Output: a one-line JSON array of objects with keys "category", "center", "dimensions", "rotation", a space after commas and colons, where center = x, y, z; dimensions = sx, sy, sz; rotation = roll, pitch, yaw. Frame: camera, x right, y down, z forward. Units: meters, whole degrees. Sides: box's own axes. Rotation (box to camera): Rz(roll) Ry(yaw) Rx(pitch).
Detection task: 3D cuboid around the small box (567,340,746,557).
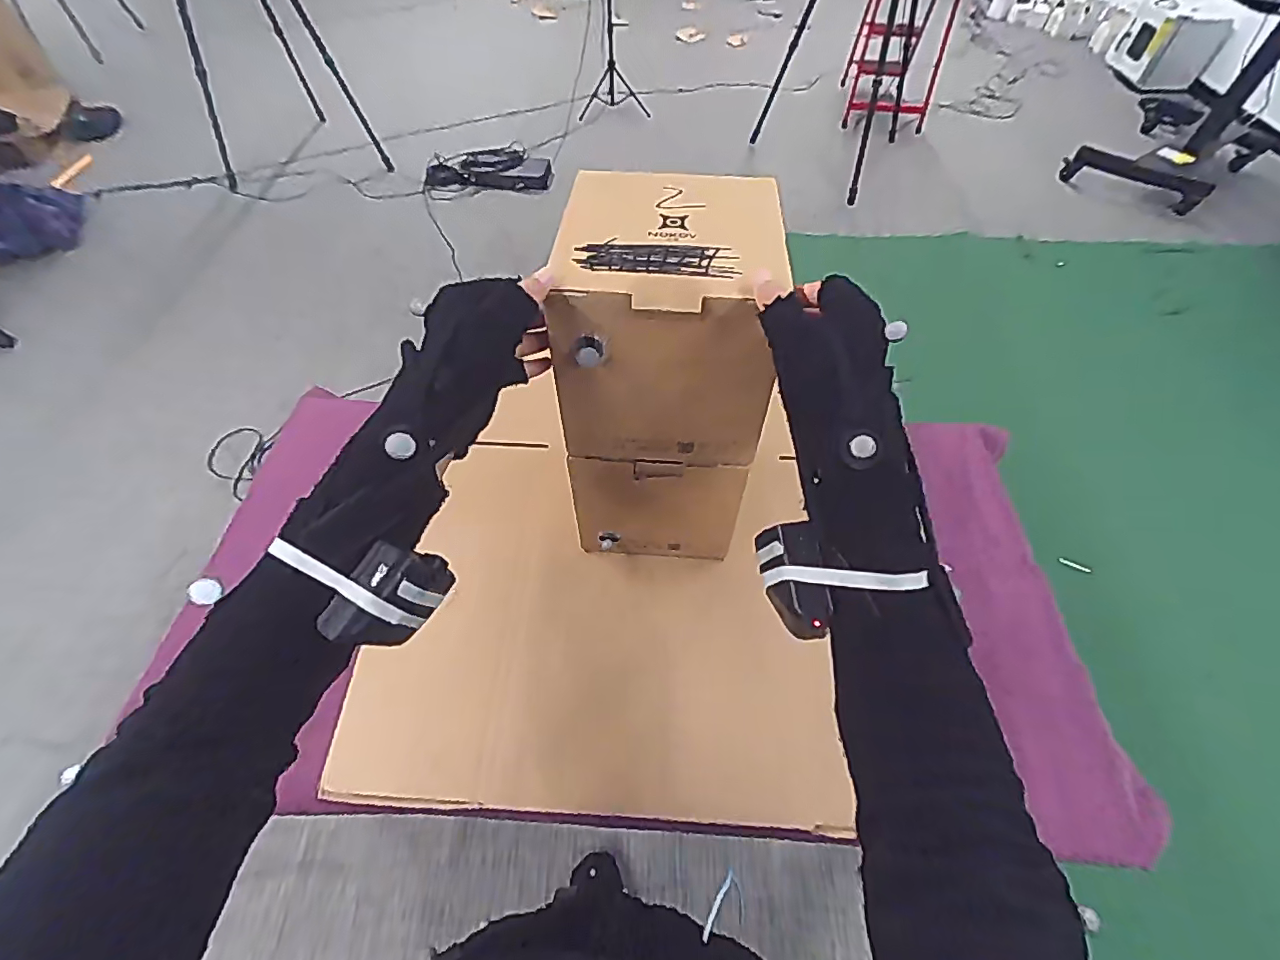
[{"category": "small box", "center": [0.022, -0.030, 0.595], "dimensions": [0.168, 0.176, 0.179], "rotation": [3, 52, 2]}]
